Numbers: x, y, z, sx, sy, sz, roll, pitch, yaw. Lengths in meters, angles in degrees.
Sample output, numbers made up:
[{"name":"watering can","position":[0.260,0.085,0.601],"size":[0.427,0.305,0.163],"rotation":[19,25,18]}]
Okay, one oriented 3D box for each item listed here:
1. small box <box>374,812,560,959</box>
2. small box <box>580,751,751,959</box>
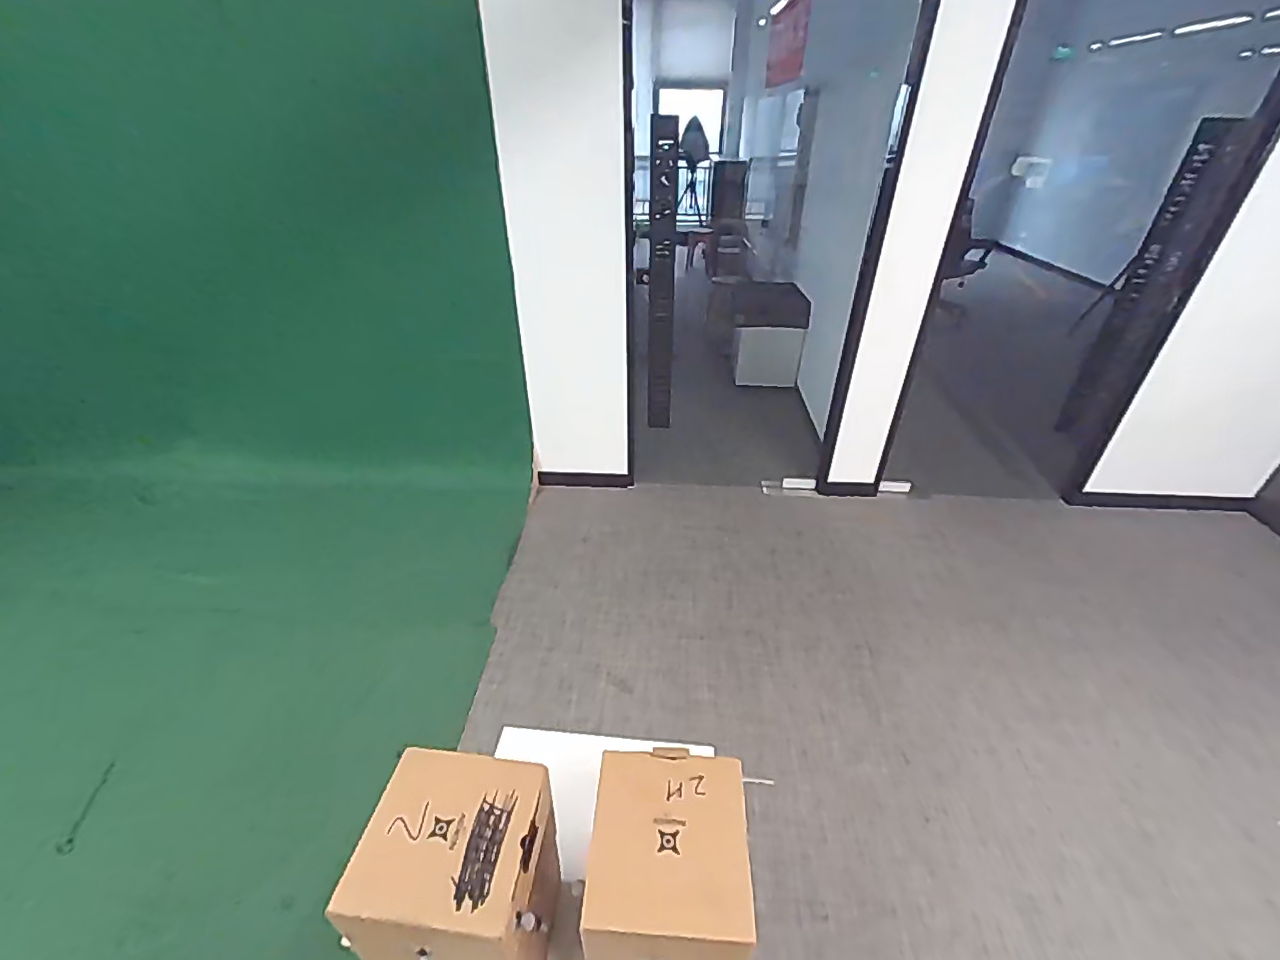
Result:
[{"name":"small box","position":[-0.211,0.575,0.715],"size":[0.179,0.176,0.168],"rotation":[6,34,4]},{"name":"small box","position":[0.031,0.443,0.619],"size":[0.168,0.176,0.179],"rotation":[2,33,3]}]
